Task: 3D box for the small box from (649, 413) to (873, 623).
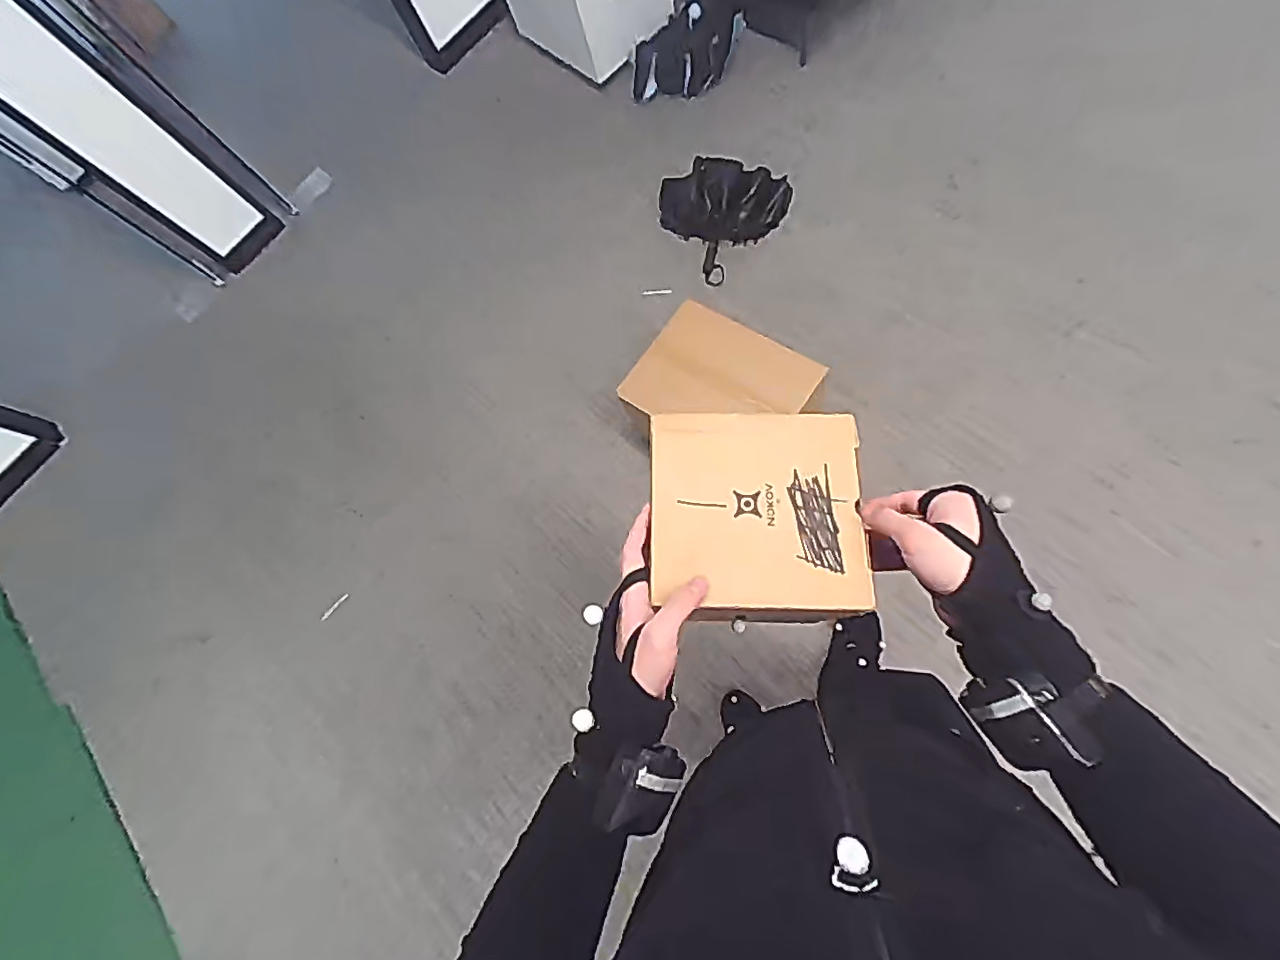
[{"bbox_3d":[0.098,0.046,0.519,0.179,0.176,0.168,0,71,2],"label":"small box"}]
